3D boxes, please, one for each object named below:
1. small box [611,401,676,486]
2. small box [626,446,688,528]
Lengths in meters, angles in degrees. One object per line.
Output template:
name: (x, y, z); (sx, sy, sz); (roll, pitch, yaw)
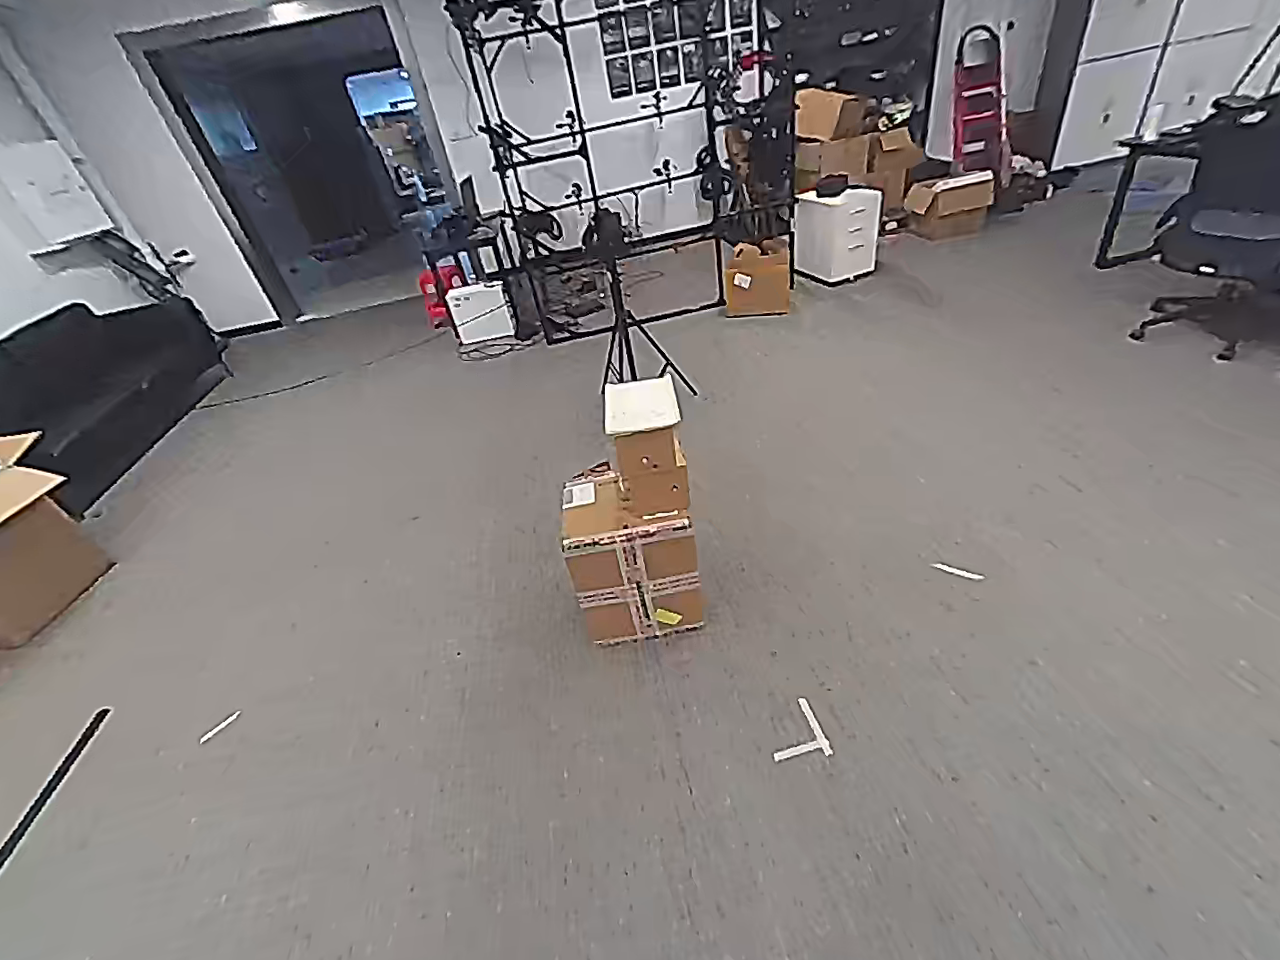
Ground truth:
small box: (0.009, -0.103, 1.535); (0.168, 0.176, 0.179); (-7, 38, 2)
small box: (0.047, 0.022, 1.636); (0.179, 0.176, 0.168); (-10, 37, -1)
